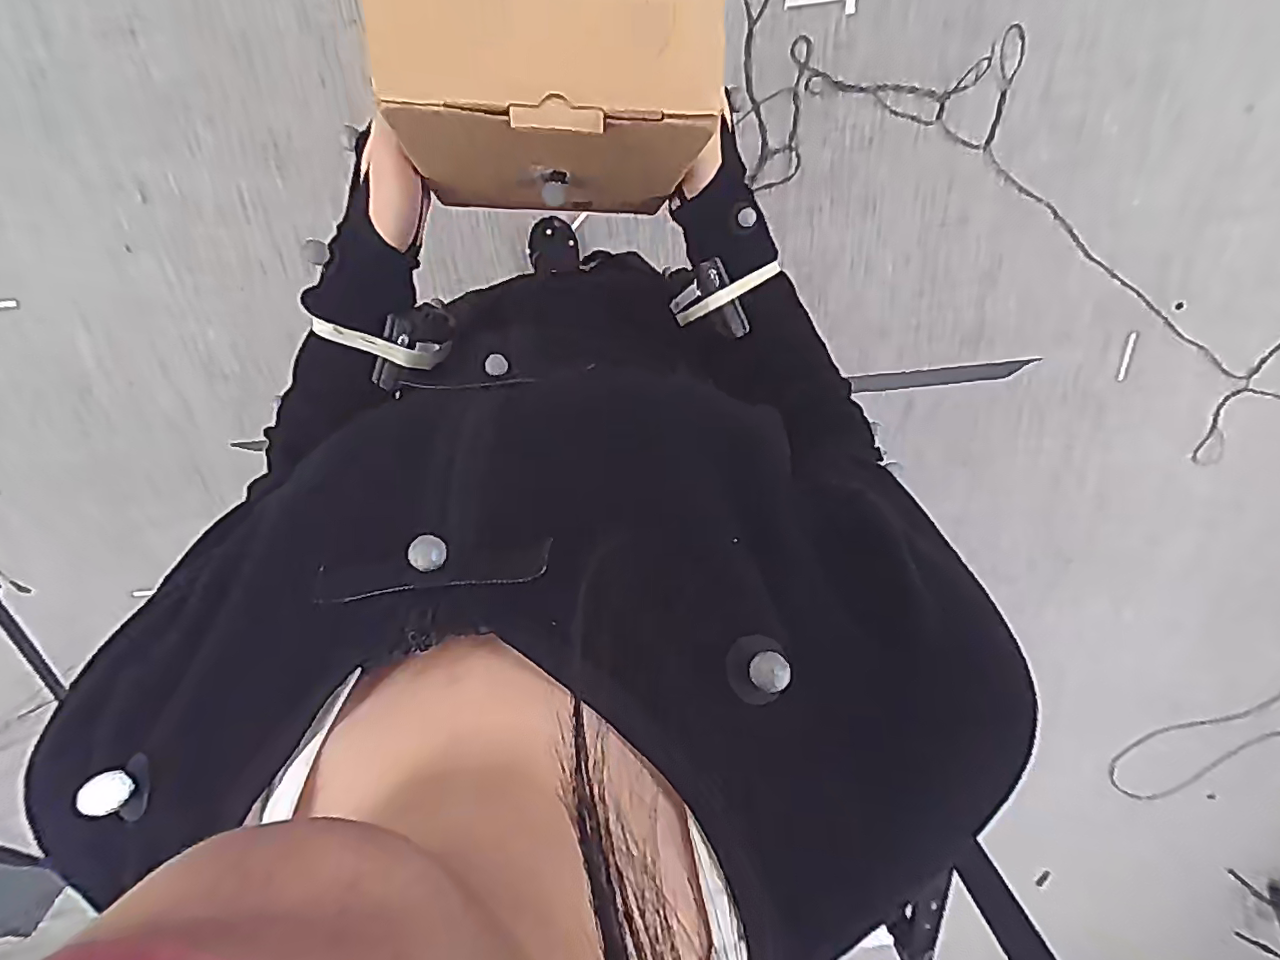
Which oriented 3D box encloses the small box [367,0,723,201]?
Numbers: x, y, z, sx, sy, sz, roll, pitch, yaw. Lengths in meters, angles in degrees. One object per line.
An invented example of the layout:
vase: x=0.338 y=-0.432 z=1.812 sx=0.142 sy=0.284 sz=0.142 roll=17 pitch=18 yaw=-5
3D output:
small box: x=-0.053 y=-0.278 z=0.316 sx=0.168 sy=0.176 sz=0.179 roll=-3 pitch=103 yaw=-10
